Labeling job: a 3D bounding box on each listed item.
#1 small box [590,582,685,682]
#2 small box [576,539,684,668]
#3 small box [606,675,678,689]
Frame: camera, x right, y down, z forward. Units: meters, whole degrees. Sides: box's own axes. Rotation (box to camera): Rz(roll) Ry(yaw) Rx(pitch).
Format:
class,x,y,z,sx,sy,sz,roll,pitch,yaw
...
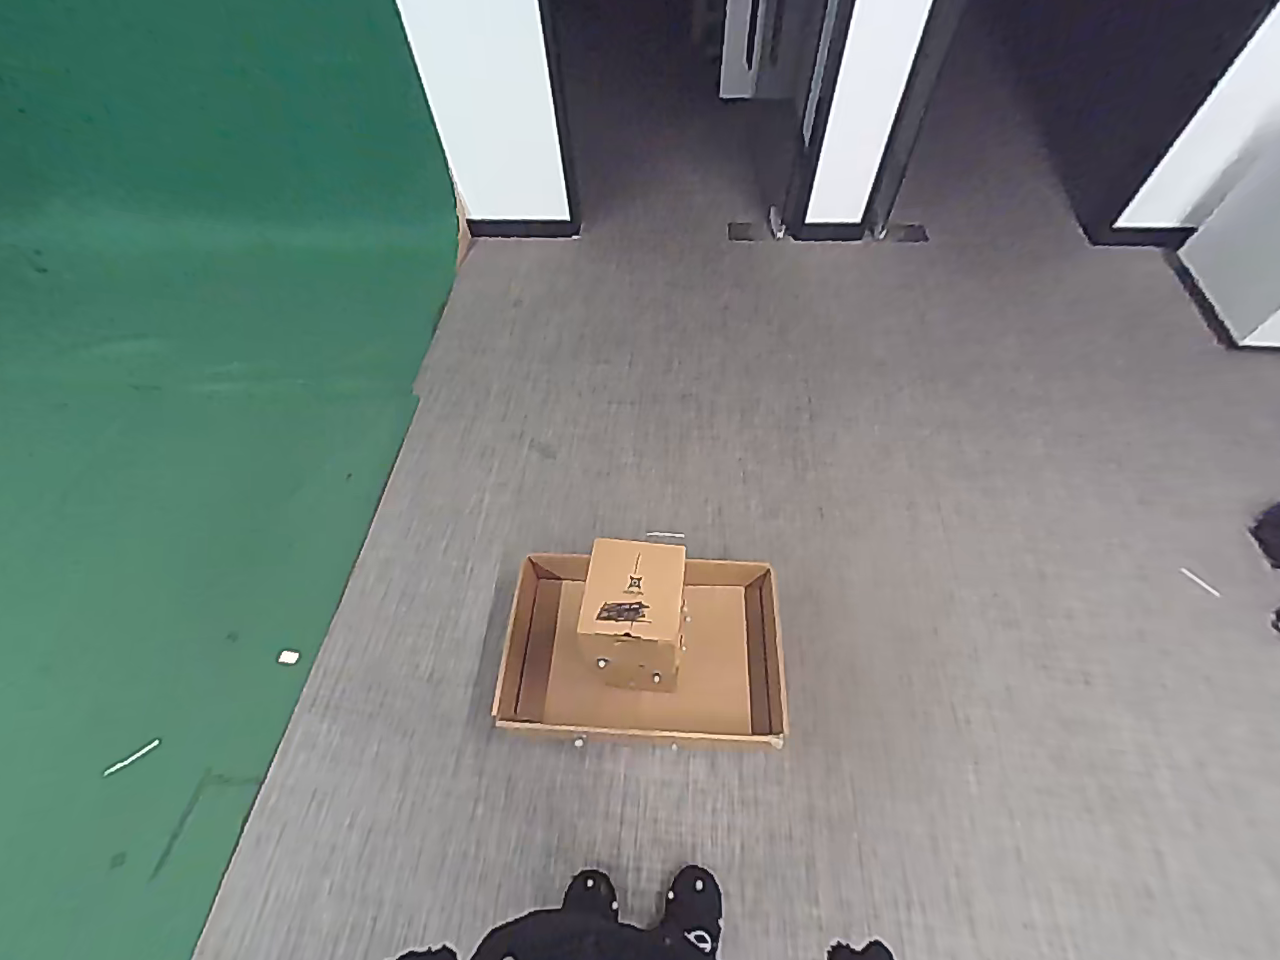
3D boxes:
class,x,y,z,sx,sy,sz,roll,pitch,yaw
small box,-0.001,0.310,1.107,0.179,0.176,0.168,2,57,3
small box,-0.010,0.229,0.983,0.168,0.176,0.179,5,55,5
small box,0.004,0.386,1.273,0.179,0.176,0.168,1,55,2
